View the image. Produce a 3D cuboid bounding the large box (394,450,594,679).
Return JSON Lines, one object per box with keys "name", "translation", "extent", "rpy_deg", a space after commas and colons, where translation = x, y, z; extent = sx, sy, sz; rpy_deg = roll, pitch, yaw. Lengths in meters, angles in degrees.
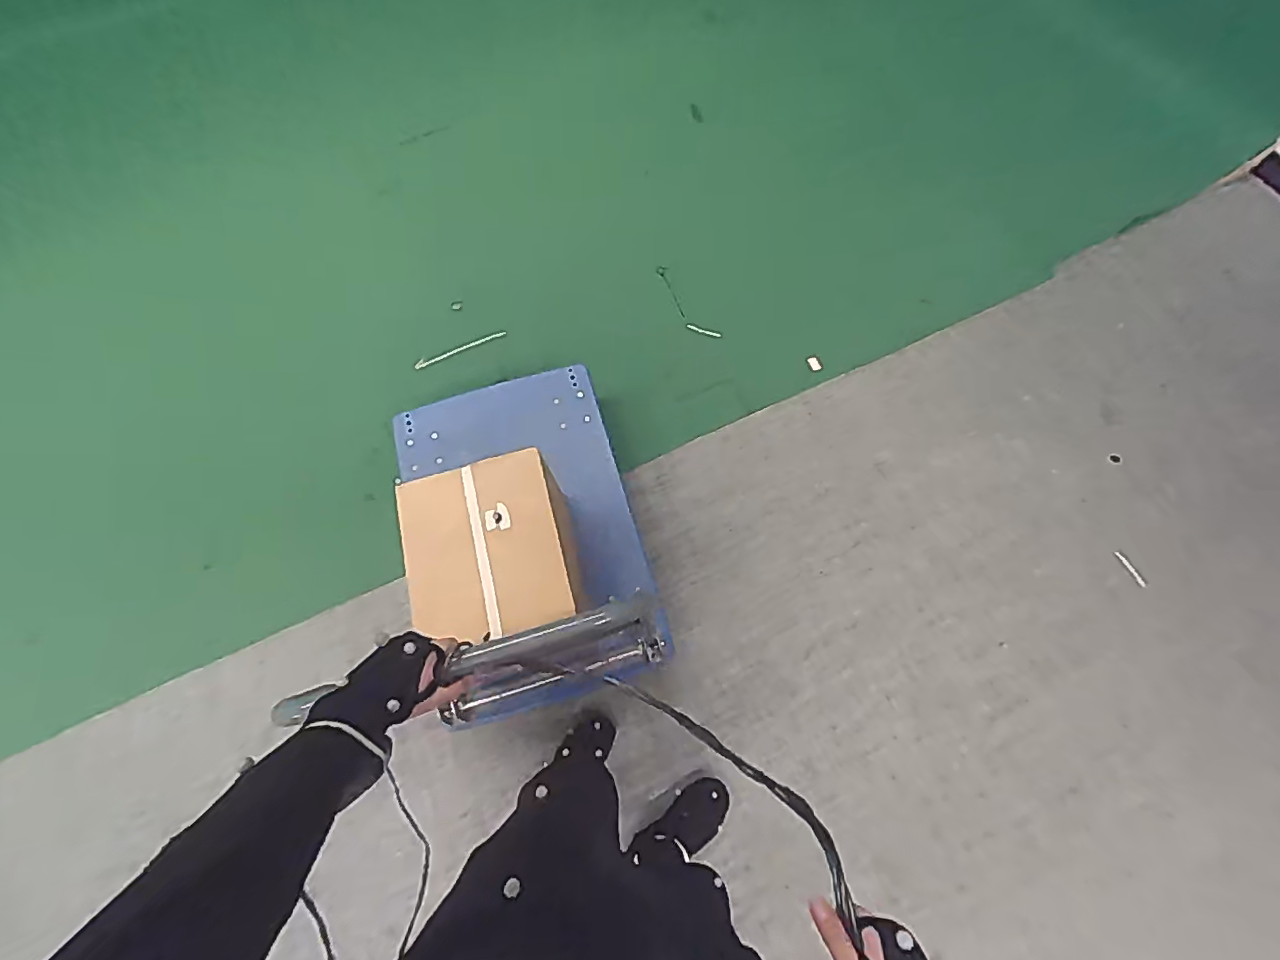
{"name": "large box", "translation": [-0.314, 0.204, 1.223], "extent": [0.320, 0.320, 0.408], "rpy_deg": [-15, 69, -4]}
